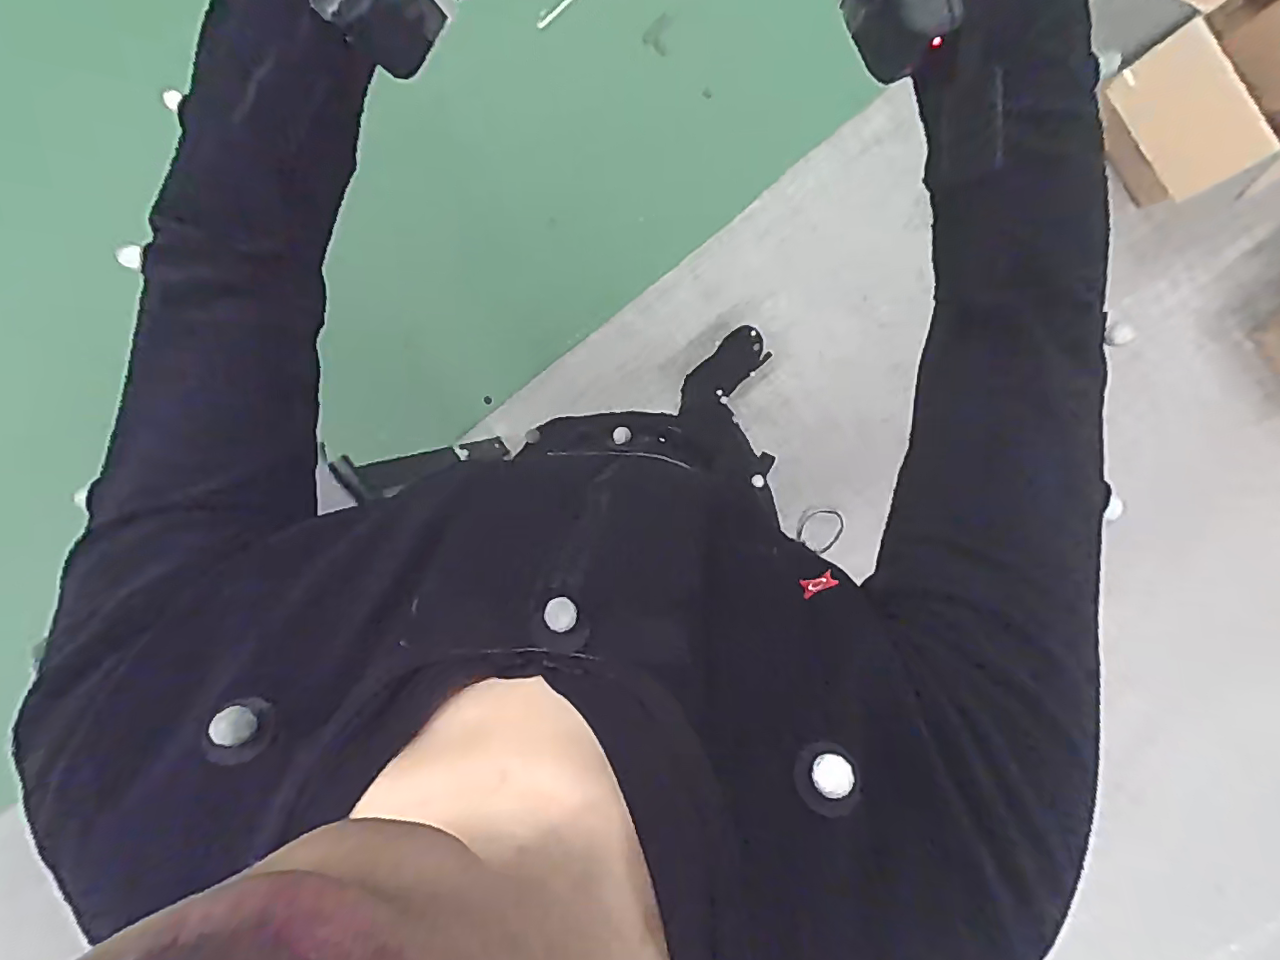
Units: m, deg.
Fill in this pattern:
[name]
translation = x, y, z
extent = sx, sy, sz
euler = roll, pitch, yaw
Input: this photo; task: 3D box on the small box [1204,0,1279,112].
[small box]
translation = 1.277, -0.859, 1.046
extent = 0.168, 0.176, 0.179
euler = -33, 96, 5
